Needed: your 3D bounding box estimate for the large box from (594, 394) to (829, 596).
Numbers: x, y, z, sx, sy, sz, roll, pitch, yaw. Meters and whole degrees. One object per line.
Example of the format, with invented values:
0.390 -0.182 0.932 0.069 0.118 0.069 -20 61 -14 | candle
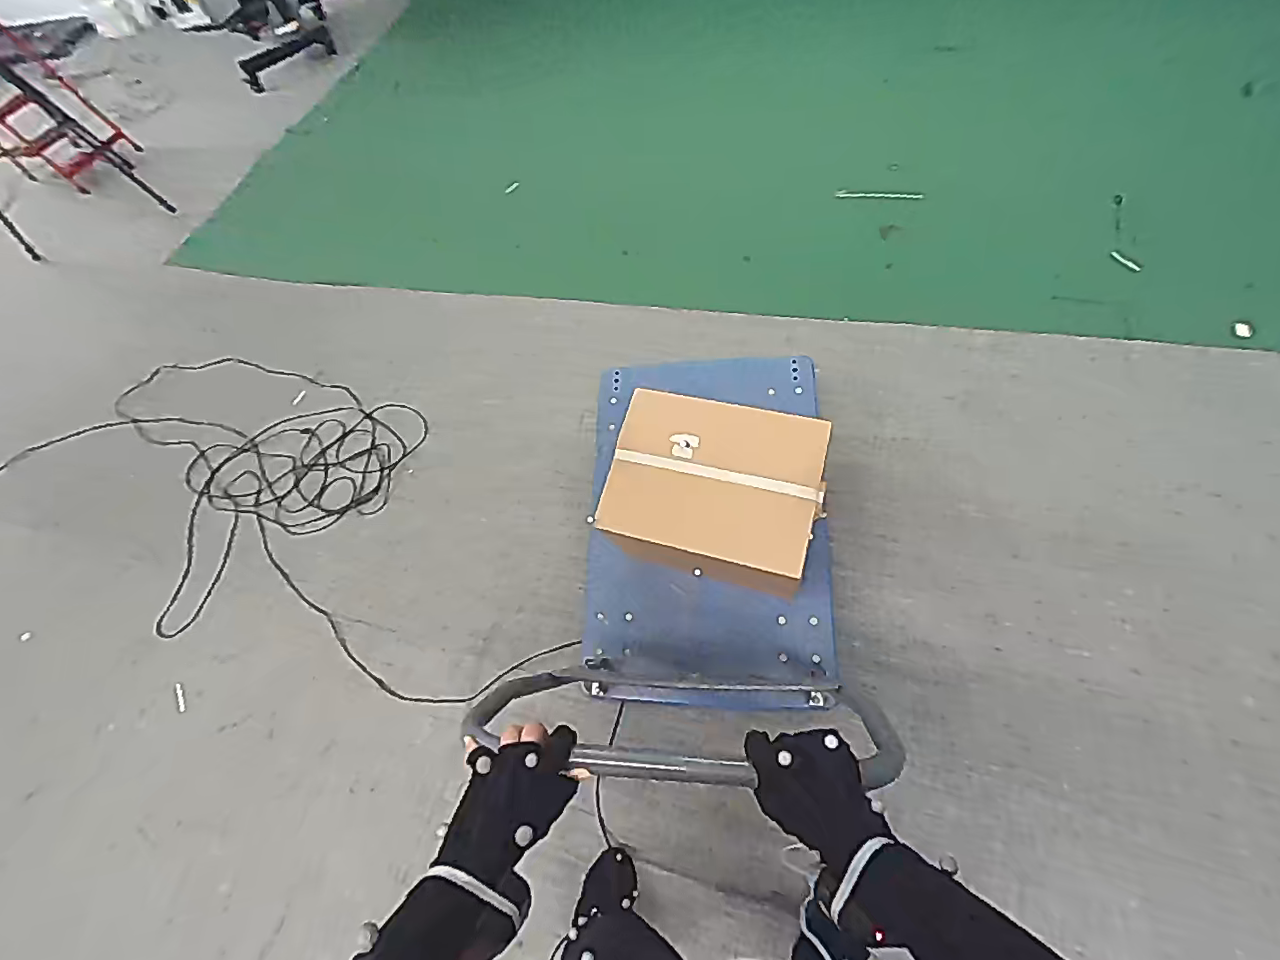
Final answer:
0.167 0.044 1.185 0.408 0.320 0.320 13 74 16 | large box
